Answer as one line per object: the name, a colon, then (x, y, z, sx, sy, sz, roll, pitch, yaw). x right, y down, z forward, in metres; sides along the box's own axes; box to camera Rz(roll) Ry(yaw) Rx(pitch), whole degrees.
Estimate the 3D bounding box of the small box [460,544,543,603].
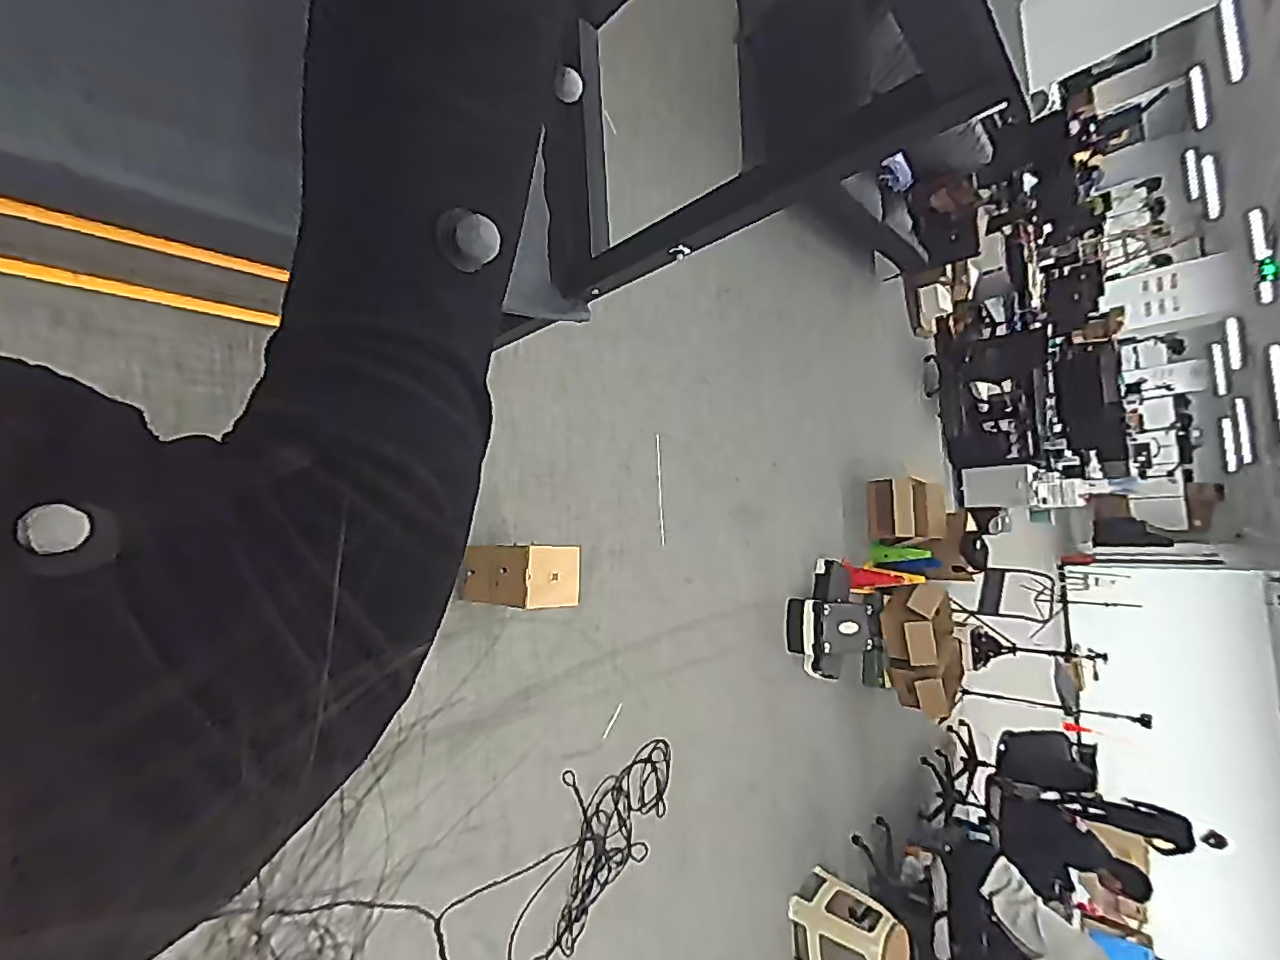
small box: (-0.417, 0.280, 1.631, 0.179, 0.176, 0.168, 10, 77, -45)
